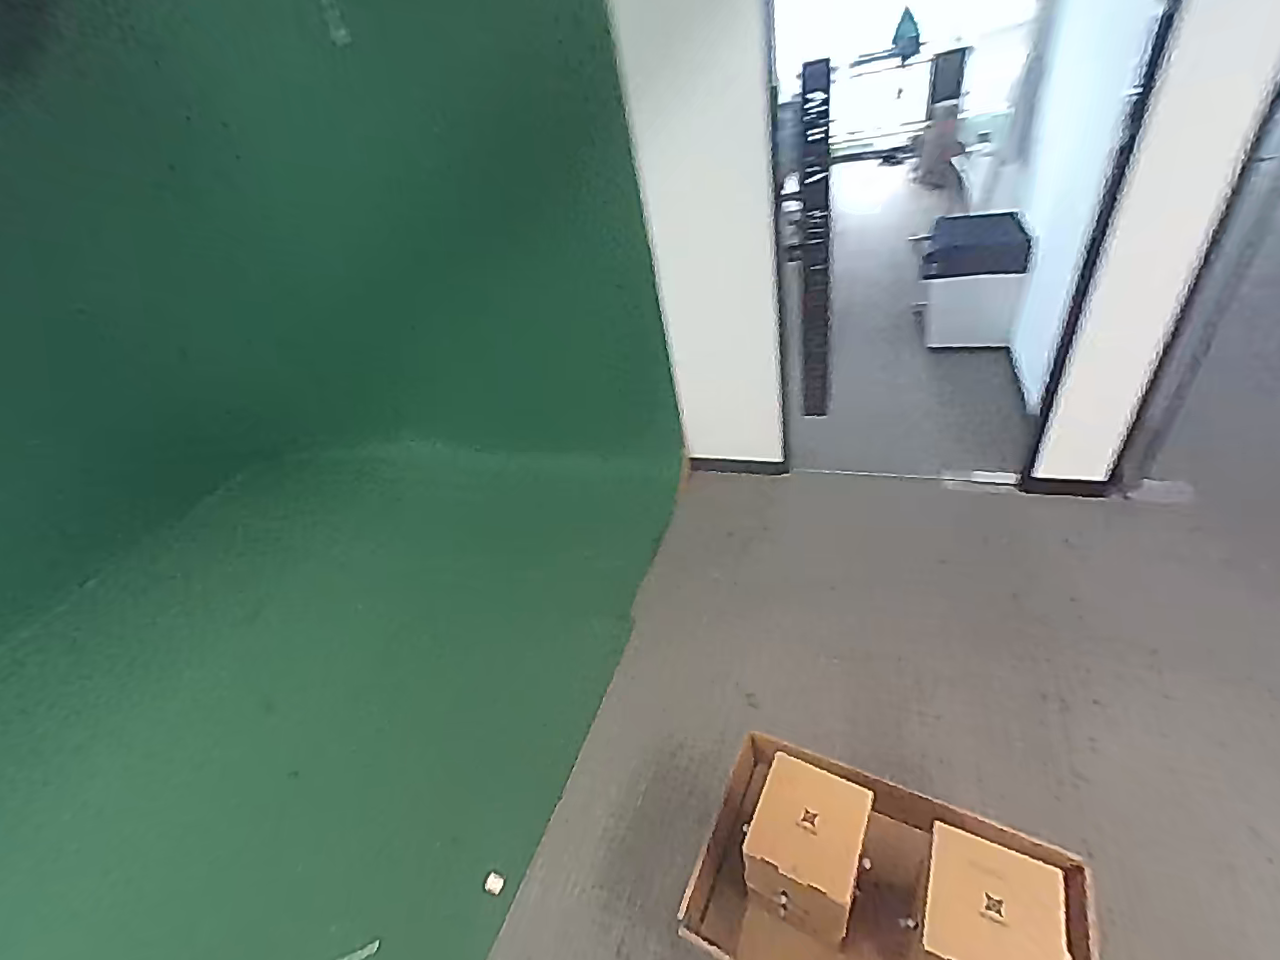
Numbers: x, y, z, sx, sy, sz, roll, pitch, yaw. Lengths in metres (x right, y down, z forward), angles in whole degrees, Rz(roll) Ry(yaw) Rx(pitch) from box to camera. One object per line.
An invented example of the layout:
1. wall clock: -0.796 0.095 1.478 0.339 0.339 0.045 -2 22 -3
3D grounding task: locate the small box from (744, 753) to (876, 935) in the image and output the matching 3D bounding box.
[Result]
1. small box: 0.286 0.614 0.918 0.168 0.176 0.179 13 44 29

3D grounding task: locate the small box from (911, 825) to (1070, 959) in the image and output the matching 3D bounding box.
1. small box: 0.503 0.661 0.789 0.168 0.176 0.179 12 43 28

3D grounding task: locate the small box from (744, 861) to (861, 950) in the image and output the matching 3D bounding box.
1. small box: 0.312 0.738 1.023 0.179 0.176 0.168 13 44 29
